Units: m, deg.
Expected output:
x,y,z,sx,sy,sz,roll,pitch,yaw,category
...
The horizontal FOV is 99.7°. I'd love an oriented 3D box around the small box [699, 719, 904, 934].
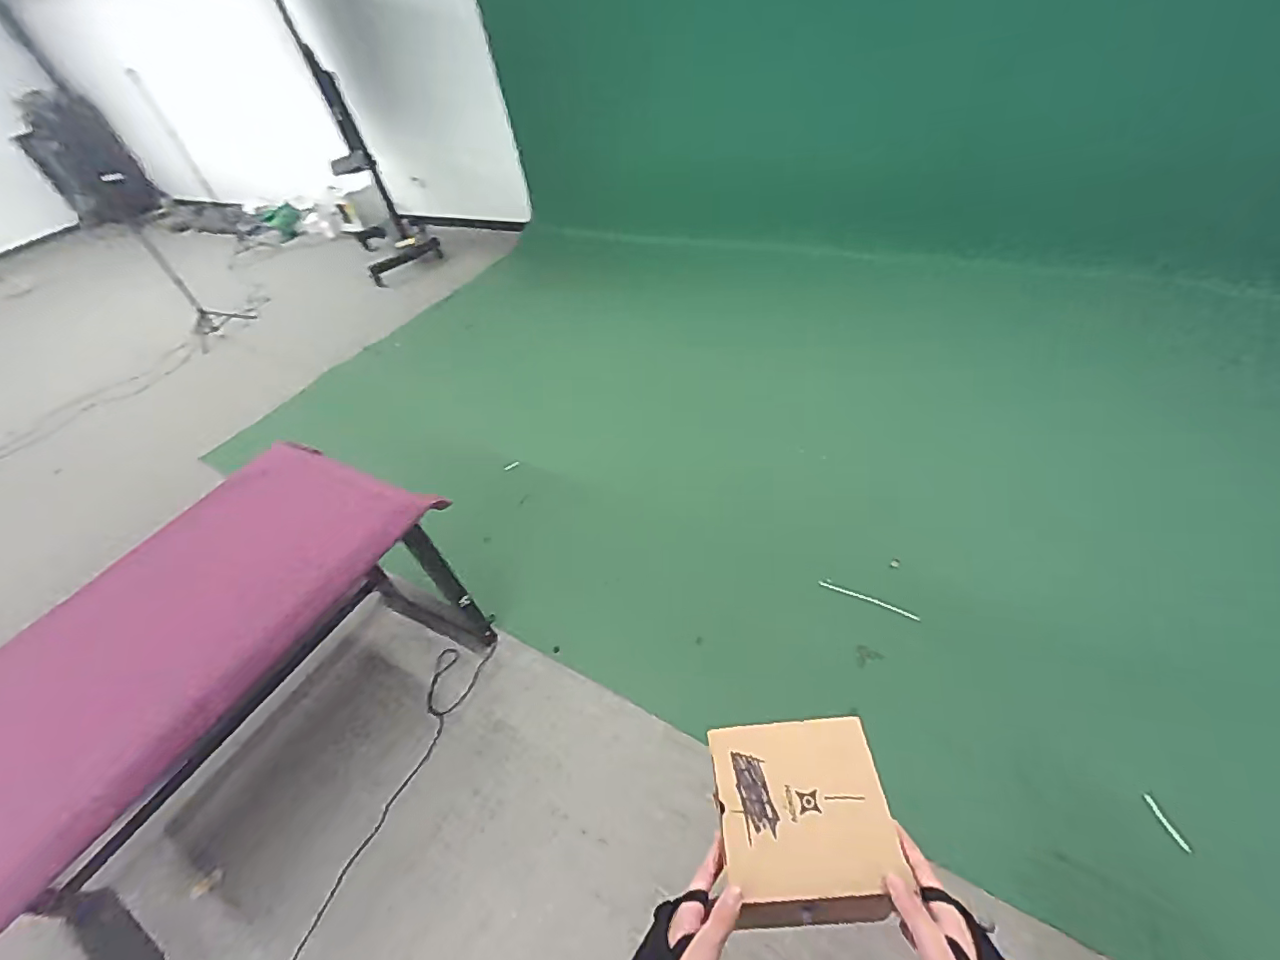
x,y,z,sx,sy,sz,roll,pitch,yaw,category
0.167,0.394,0.614,0.179,0.176,0.168,-7,43,3,small box
